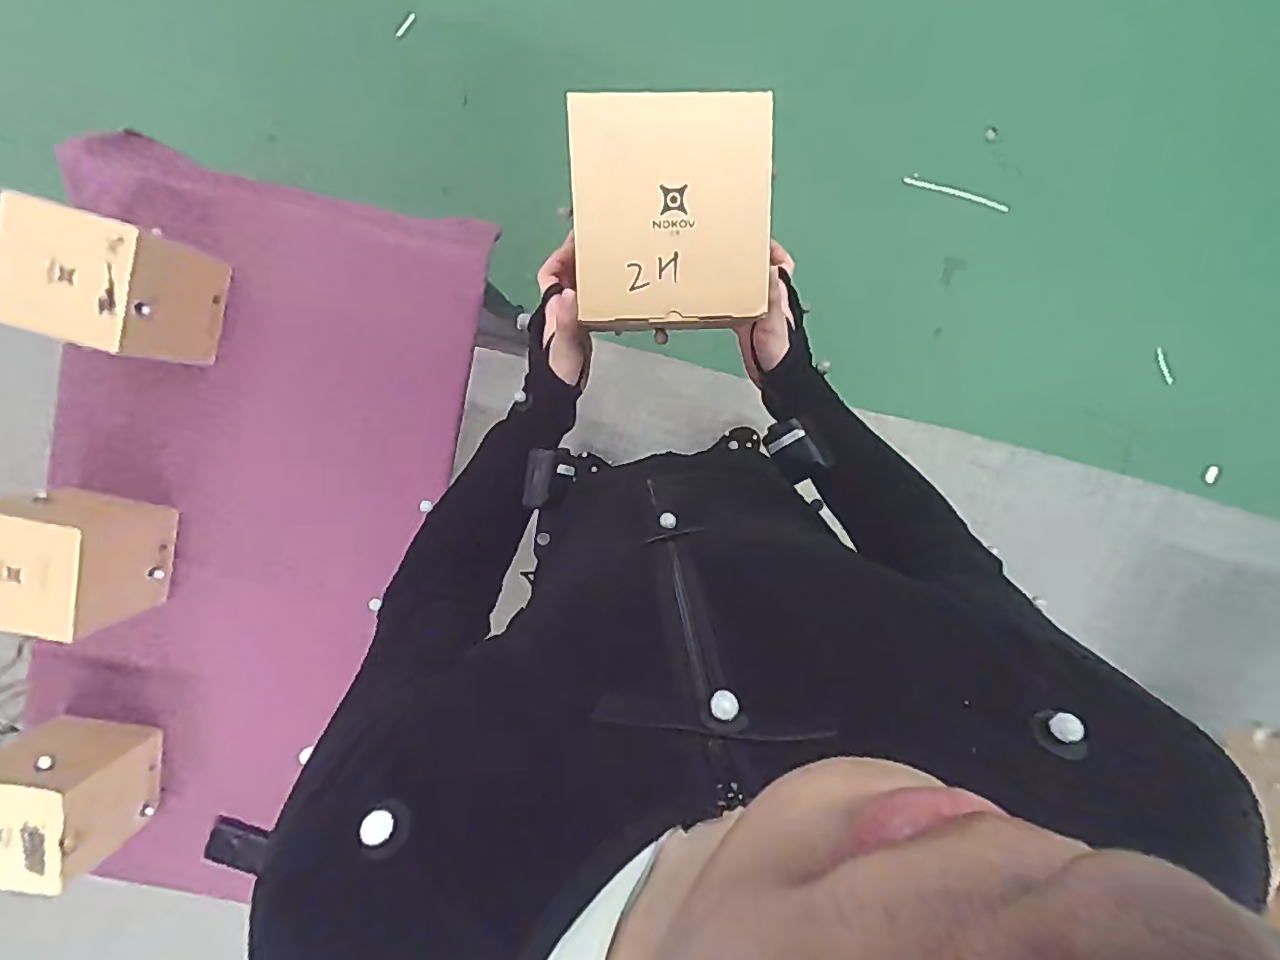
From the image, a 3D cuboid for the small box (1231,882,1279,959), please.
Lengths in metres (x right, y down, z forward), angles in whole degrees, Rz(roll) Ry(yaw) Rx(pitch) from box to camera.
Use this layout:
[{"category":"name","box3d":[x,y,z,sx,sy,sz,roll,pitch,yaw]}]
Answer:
[{"category":"small box","box3d":[1.550,1.075,1.239,0.179,0.176,0.168,20,95,-1]}]

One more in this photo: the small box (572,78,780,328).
[{"category":"small box","box3d":[0.024,-0.239,0.510,0.168,0.176,0.179,-1,103,-2]}]

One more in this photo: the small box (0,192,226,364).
[{"category":"small box","box3d":[-0.745,-0.269,0.764,0.179,0.176,0.168,15,96,-2]}]

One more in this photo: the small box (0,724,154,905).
[{"category":"small box","box3d":[-0.914,0.507,0.842,0.179,0.176,0.168,9,95,-1]}]

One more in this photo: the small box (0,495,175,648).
[{"category":"small box","box3d":[-0.858,0.124,0.805,0.179,0.176,0.168,12,96,-3]}]
